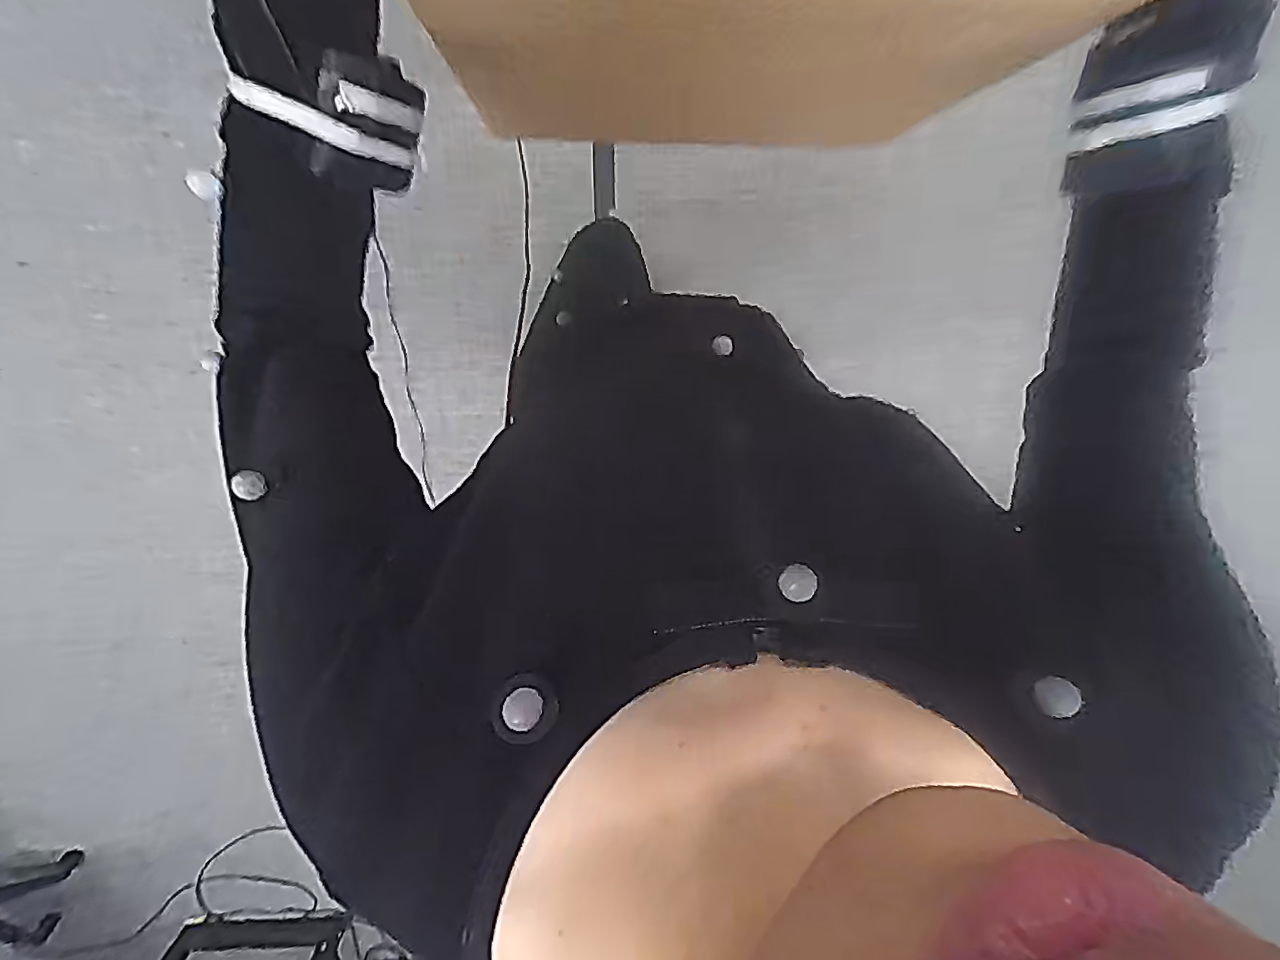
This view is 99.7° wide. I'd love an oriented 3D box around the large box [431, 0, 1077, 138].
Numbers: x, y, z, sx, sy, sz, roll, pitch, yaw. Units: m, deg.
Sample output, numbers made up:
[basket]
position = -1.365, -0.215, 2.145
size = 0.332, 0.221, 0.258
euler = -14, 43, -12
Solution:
[large box]
position = 0.060, -0.456, 0.372
size = 0.408, 0.320, 0.320
euler = -2, 108, -5
